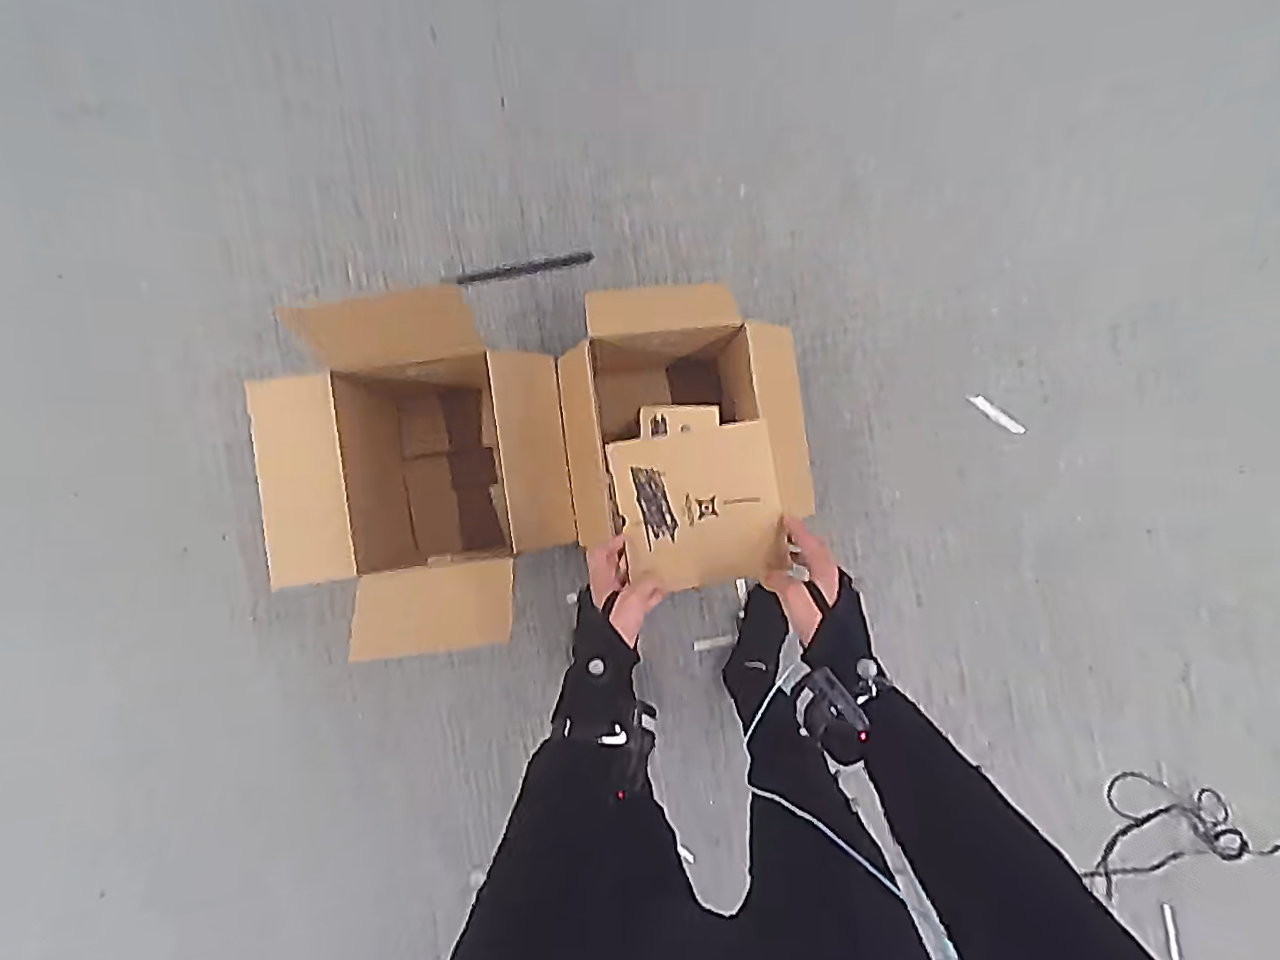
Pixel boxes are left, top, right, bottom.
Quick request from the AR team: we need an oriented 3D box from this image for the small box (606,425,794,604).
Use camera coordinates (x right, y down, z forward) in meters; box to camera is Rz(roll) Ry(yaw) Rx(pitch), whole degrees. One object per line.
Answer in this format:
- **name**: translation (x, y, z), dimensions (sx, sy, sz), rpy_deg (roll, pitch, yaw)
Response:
- **small box**: translation (0.062, 0.039, 0.637), dimensions (0.179, 0.176, 0.168), rpy_deg (-9, 89, -1)
